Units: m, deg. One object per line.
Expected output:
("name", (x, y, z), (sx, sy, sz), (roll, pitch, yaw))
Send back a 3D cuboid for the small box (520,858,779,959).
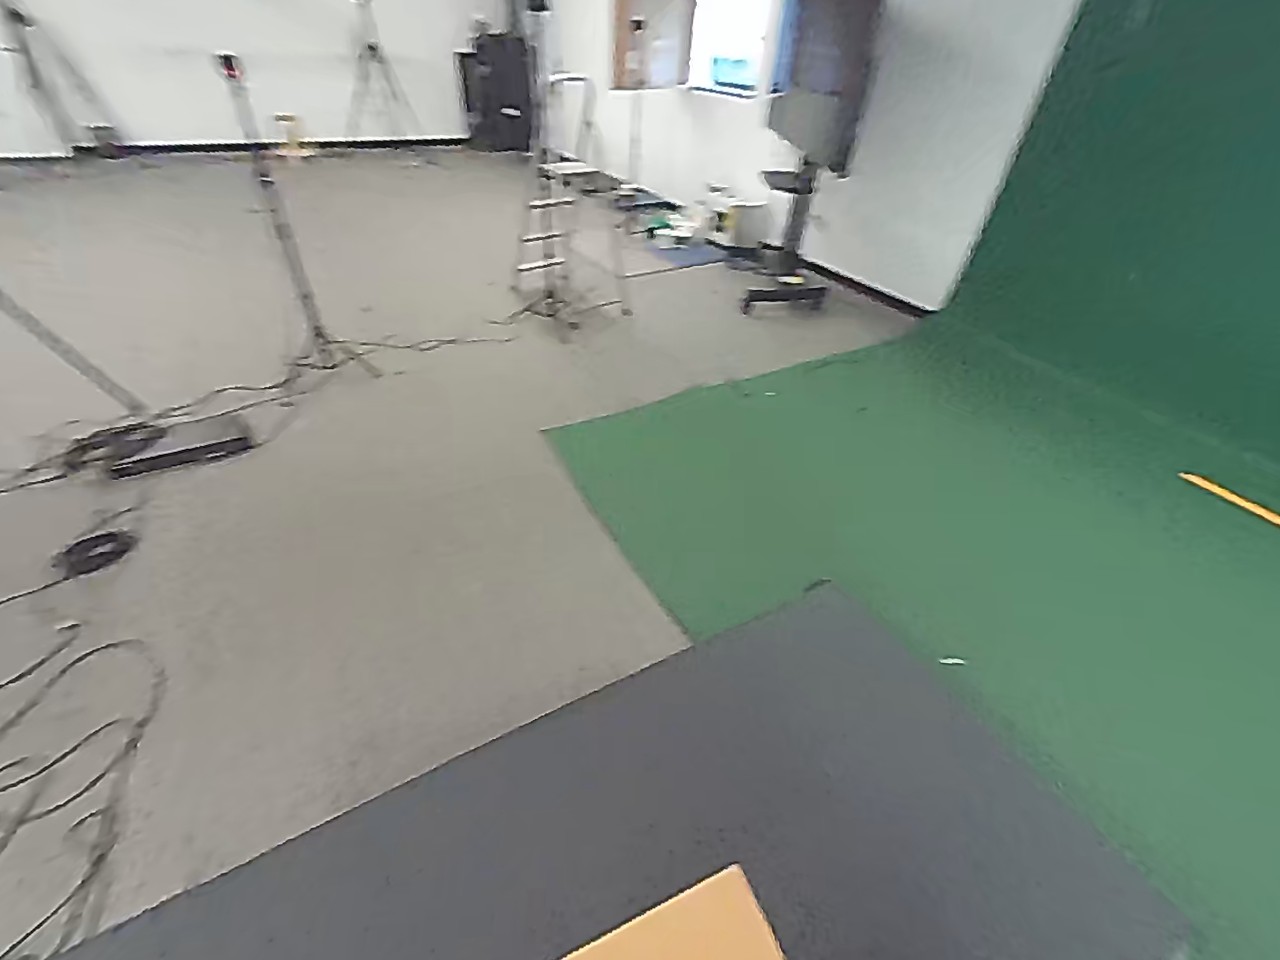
("small box", (0.017, 0.394, 0.340), (0.168, 0.176, 0.179), (-13, 41, -21))
